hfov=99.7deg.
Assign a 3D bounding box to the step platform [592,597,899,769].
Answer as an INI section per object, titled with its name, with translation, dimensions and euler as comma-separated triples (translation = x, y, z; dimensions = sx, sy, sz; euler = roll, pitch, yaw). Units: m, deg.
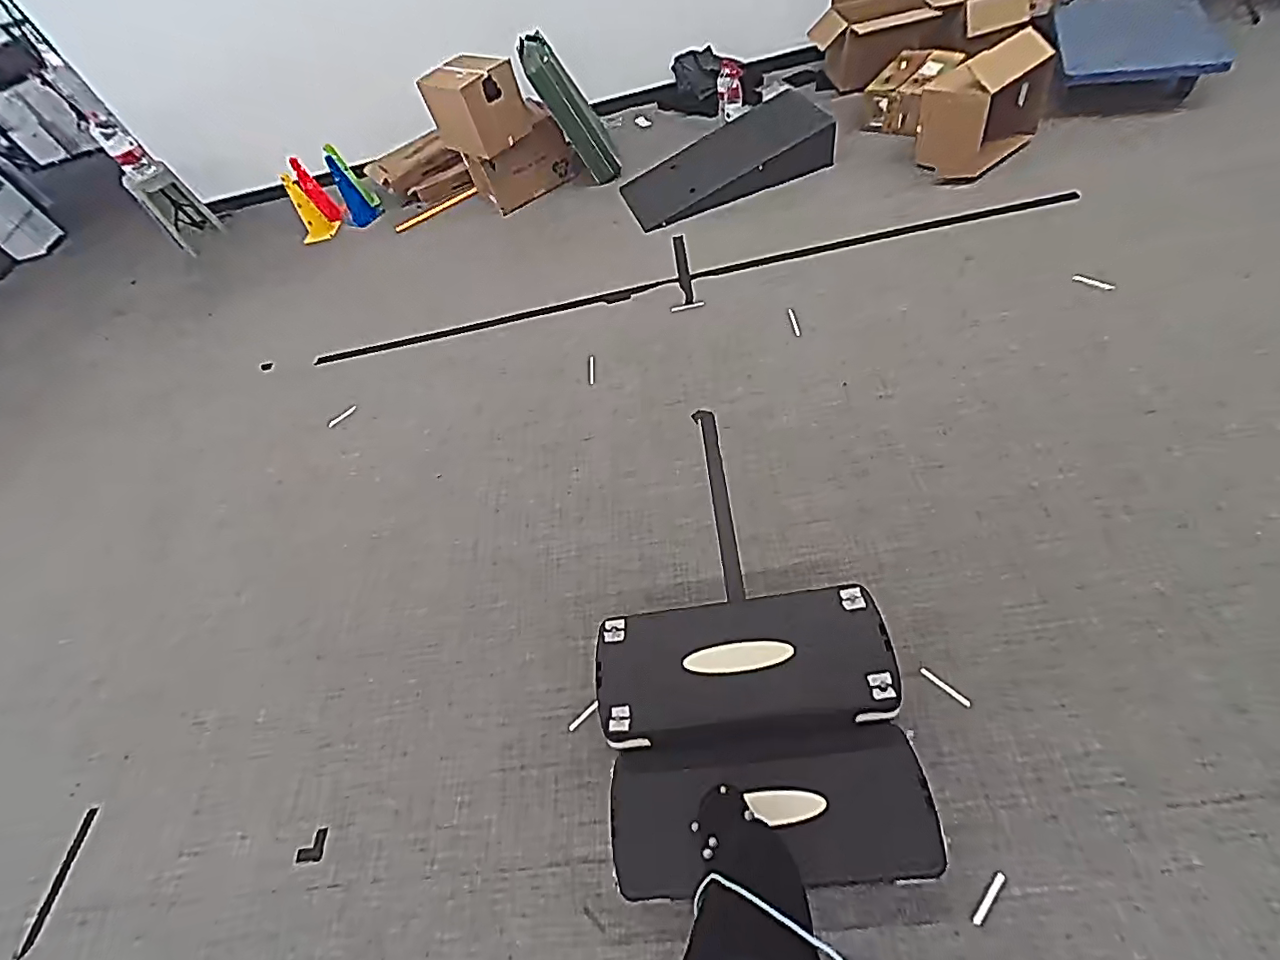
[step platform]
translation = 0.229, 0.478, 1.276
dimensions = 0.684, 0.204, 0.286
euler = -10, 54, 6
